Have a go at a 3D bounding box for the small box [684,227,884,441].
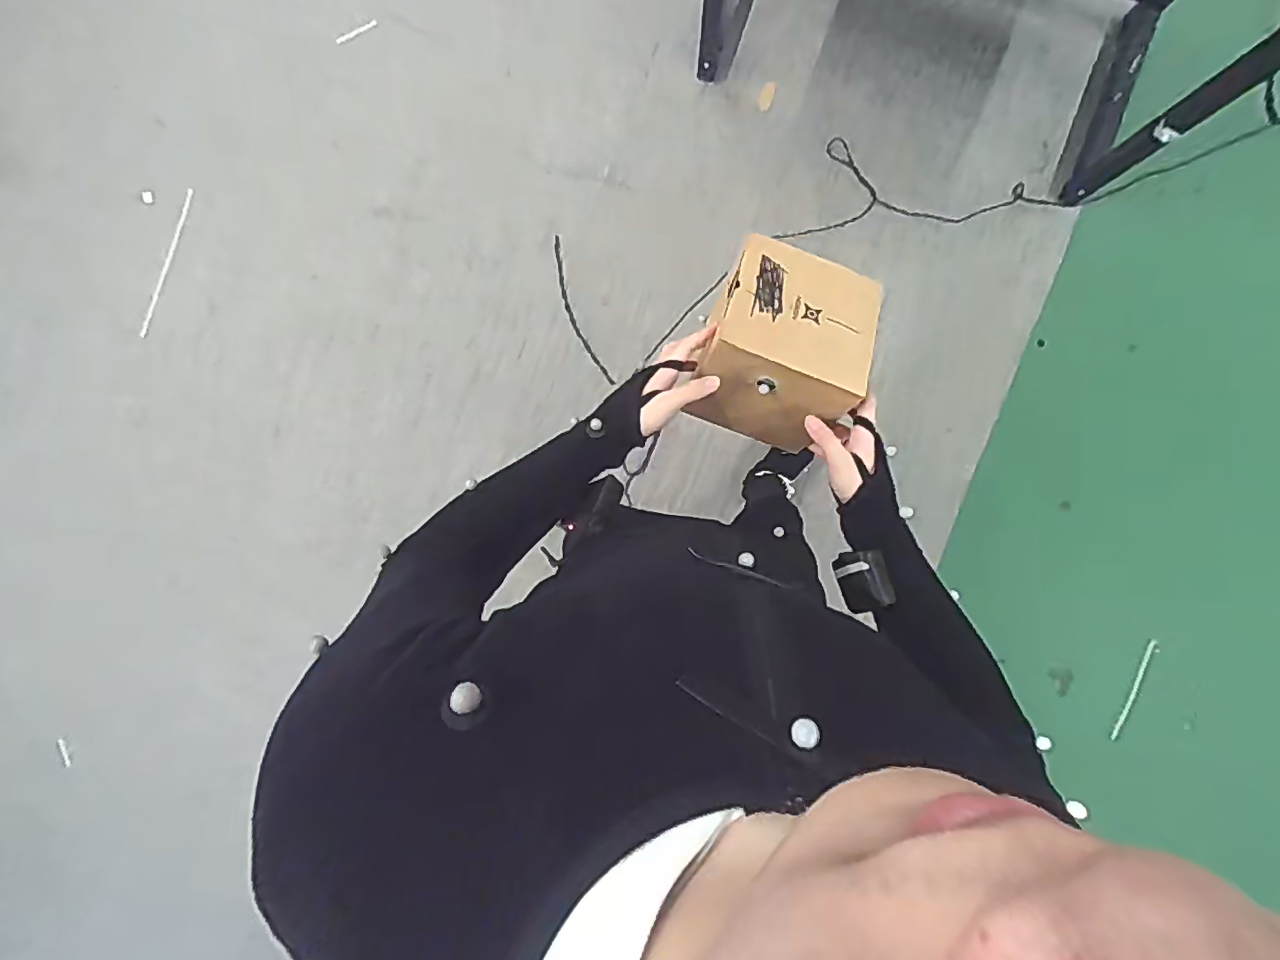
[{"bbox_3d":[0.170,-0.170,0.678,0.179,0.176,0.168,20,68,-3],"label":"small box"}]
